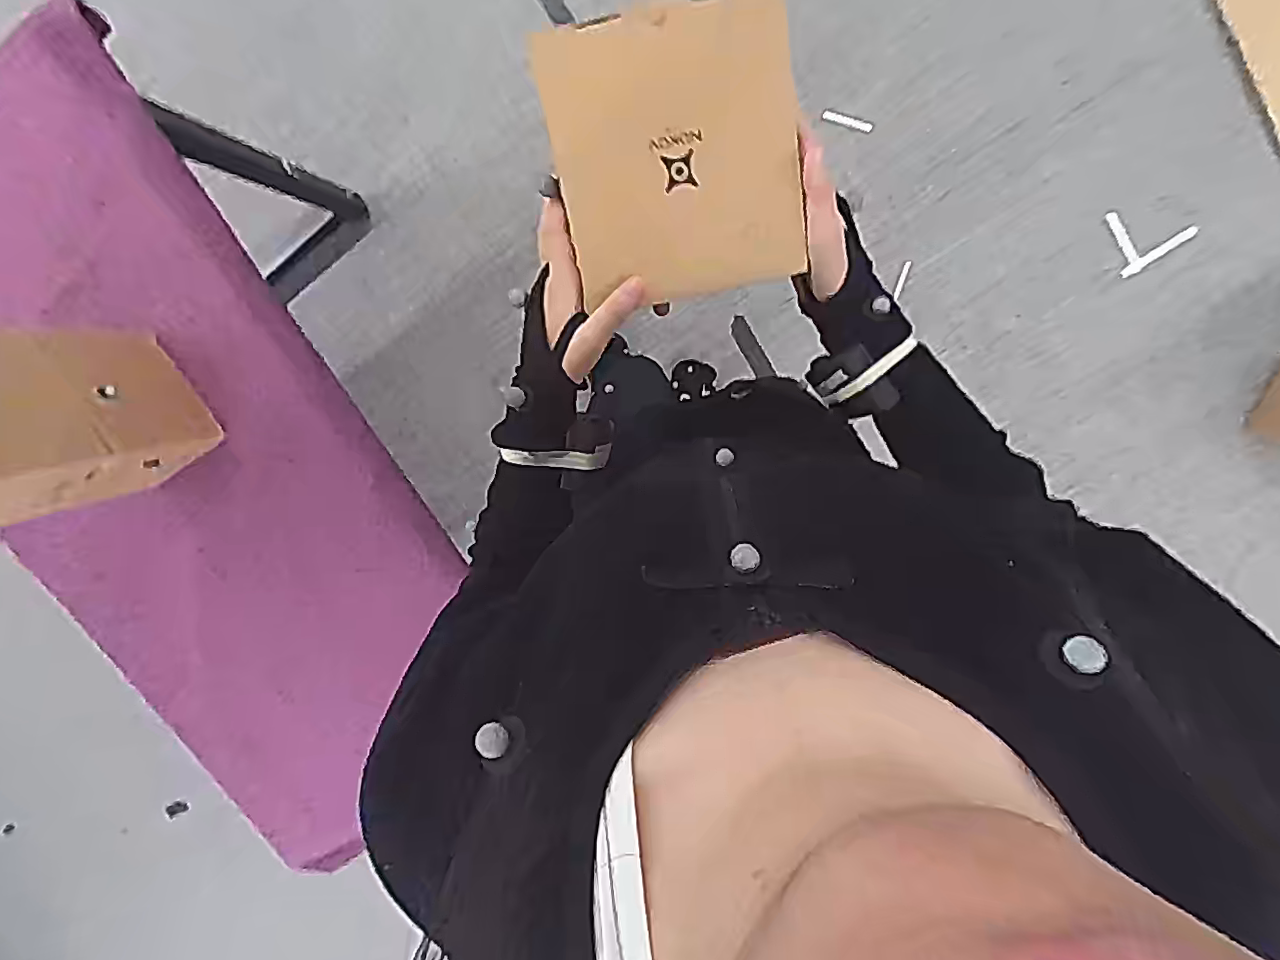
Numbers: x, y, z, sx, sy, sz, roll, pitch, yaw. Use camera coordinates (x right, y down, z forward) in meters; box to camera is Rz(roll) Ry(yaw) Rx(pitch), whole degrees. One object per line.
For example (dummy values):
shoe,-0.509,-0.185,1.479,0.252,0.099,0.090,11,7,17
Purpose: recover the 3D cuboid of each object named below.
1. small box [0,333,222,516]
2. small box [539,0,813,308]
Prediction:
small box,-0.733,-0.081,0.733,0.168,0.176,0.179,-30,98,11
small box,0.027,-0.246,0.437,0.168,0.176,0.179,-11,109,0
